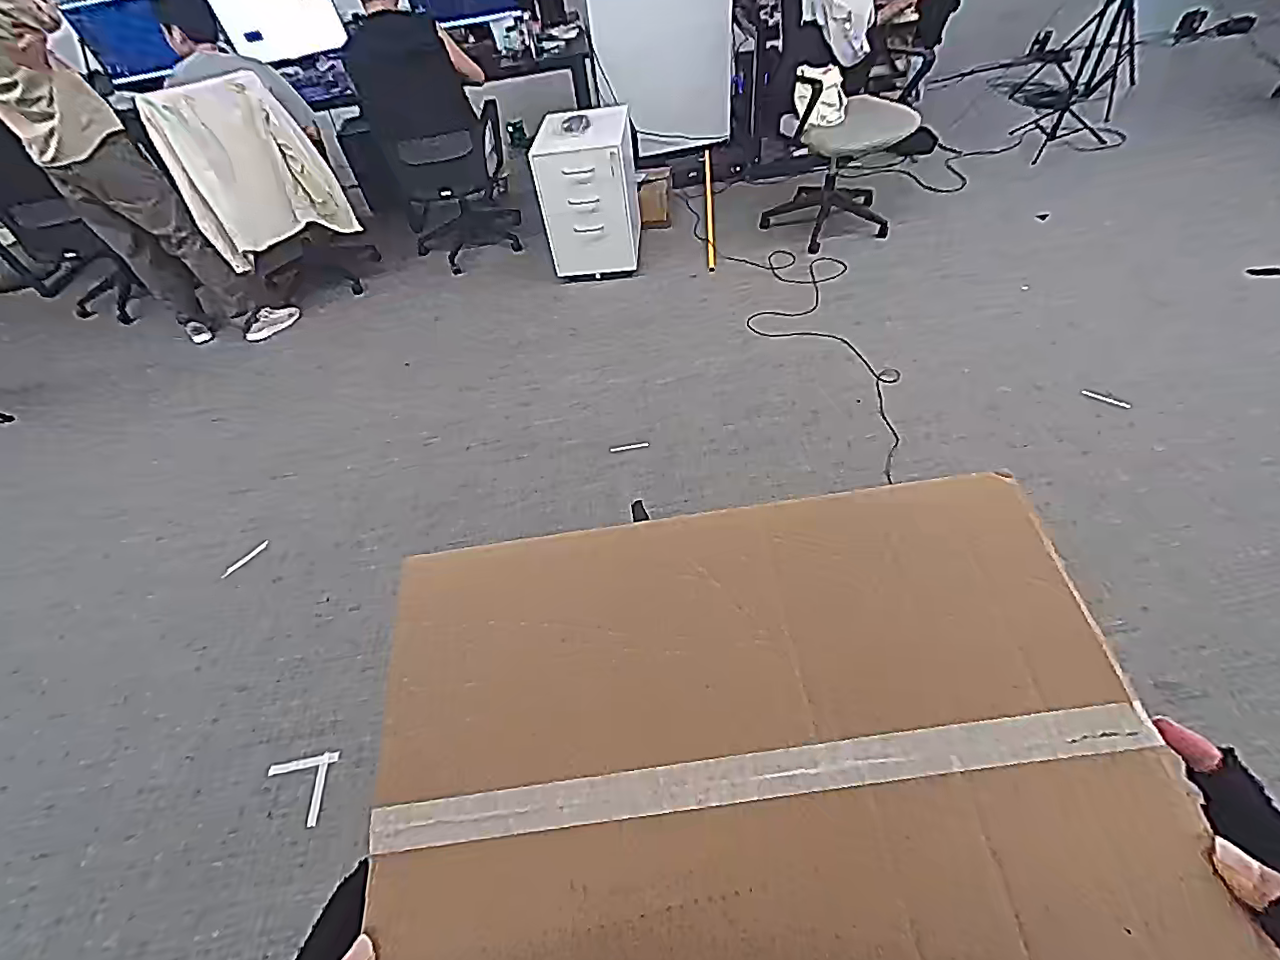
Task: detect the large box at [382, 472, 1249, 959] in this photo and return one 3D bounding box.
[{"bbox_3d":[0.074,0.231,0.423,0.408,0.320,0.320,-9,60,1],"label":"large box"}]
